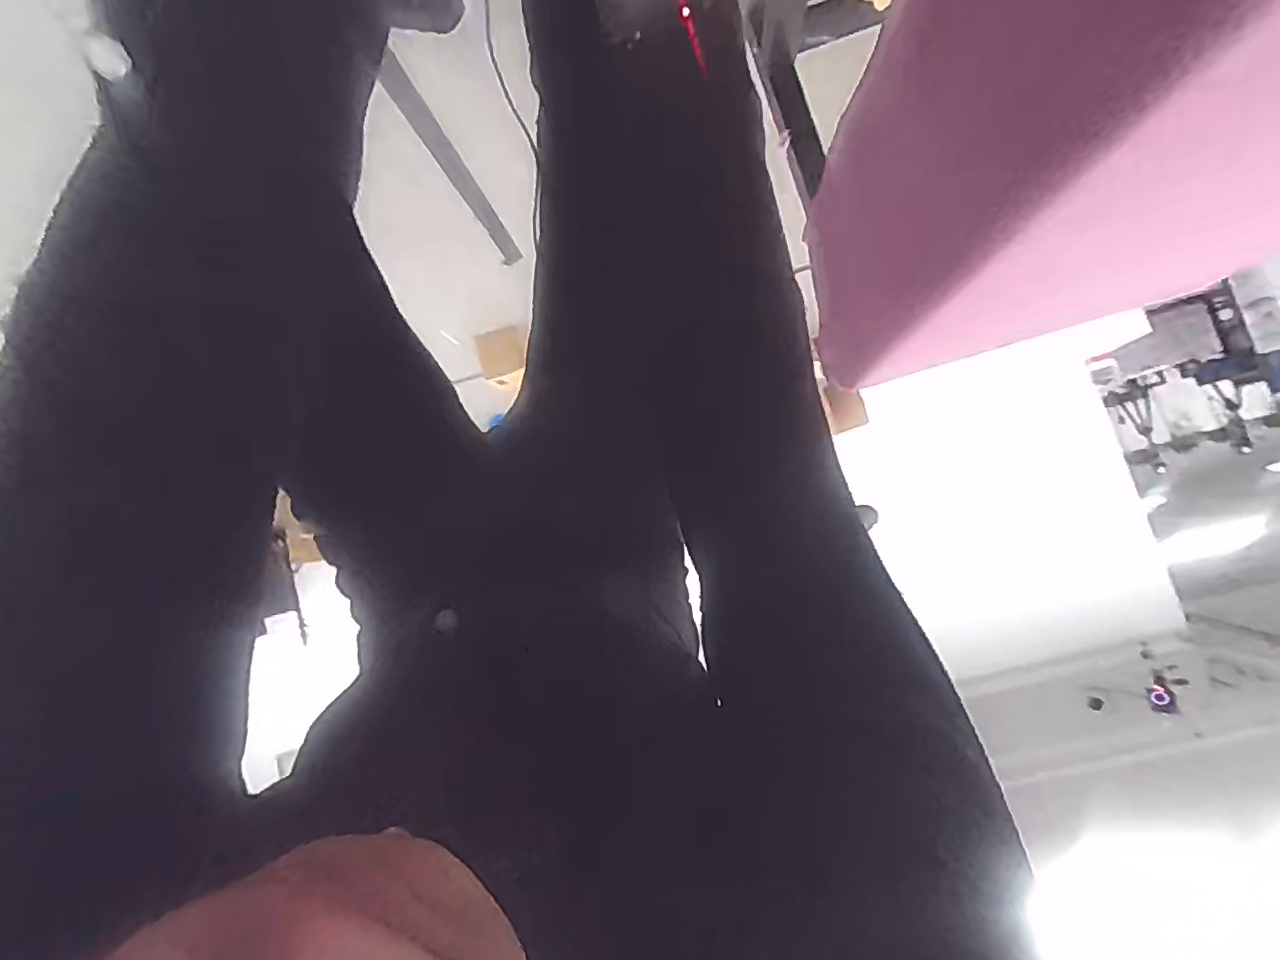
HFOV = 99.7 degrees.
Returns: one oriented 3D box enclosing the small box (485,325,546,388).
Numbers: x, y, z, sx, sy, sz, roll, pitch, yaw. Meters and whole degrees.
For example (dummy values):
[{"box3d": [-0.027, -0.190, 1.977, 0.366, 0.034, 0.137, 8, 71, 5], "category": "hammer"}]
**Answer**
[{"box3d": [-0.490, -0.479, 2.107, 0.179, 0.176, 0.168, -16, 174, 8], "category": "small box"}]
